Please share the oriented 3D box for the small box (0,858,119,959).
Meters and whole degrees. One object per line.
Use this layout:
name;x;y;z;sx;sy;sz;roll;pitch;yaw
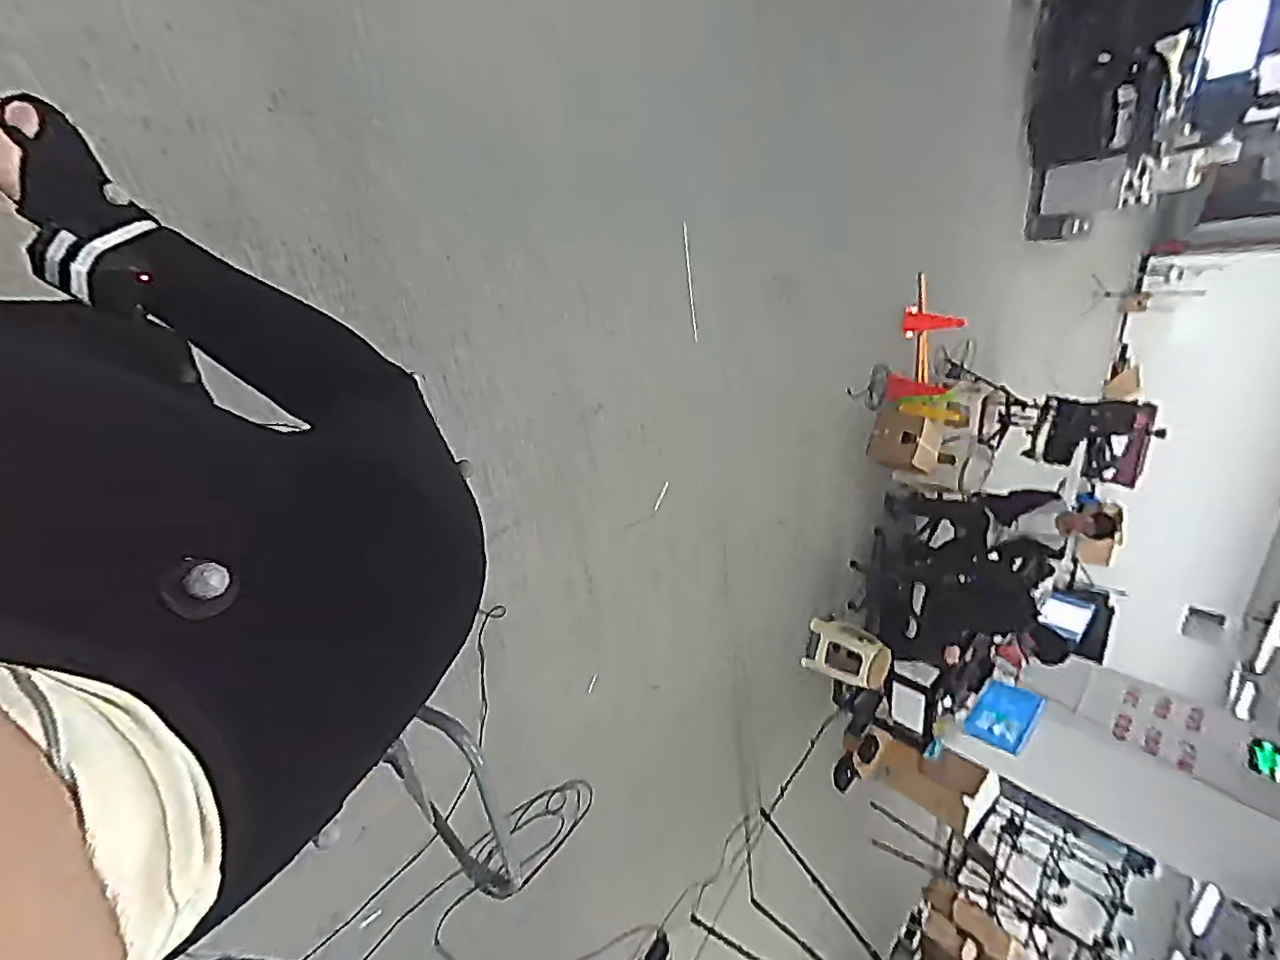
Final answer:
small box;-1.205;0.930;1.099;0.168;0.176;0.179;-28;120;-37
